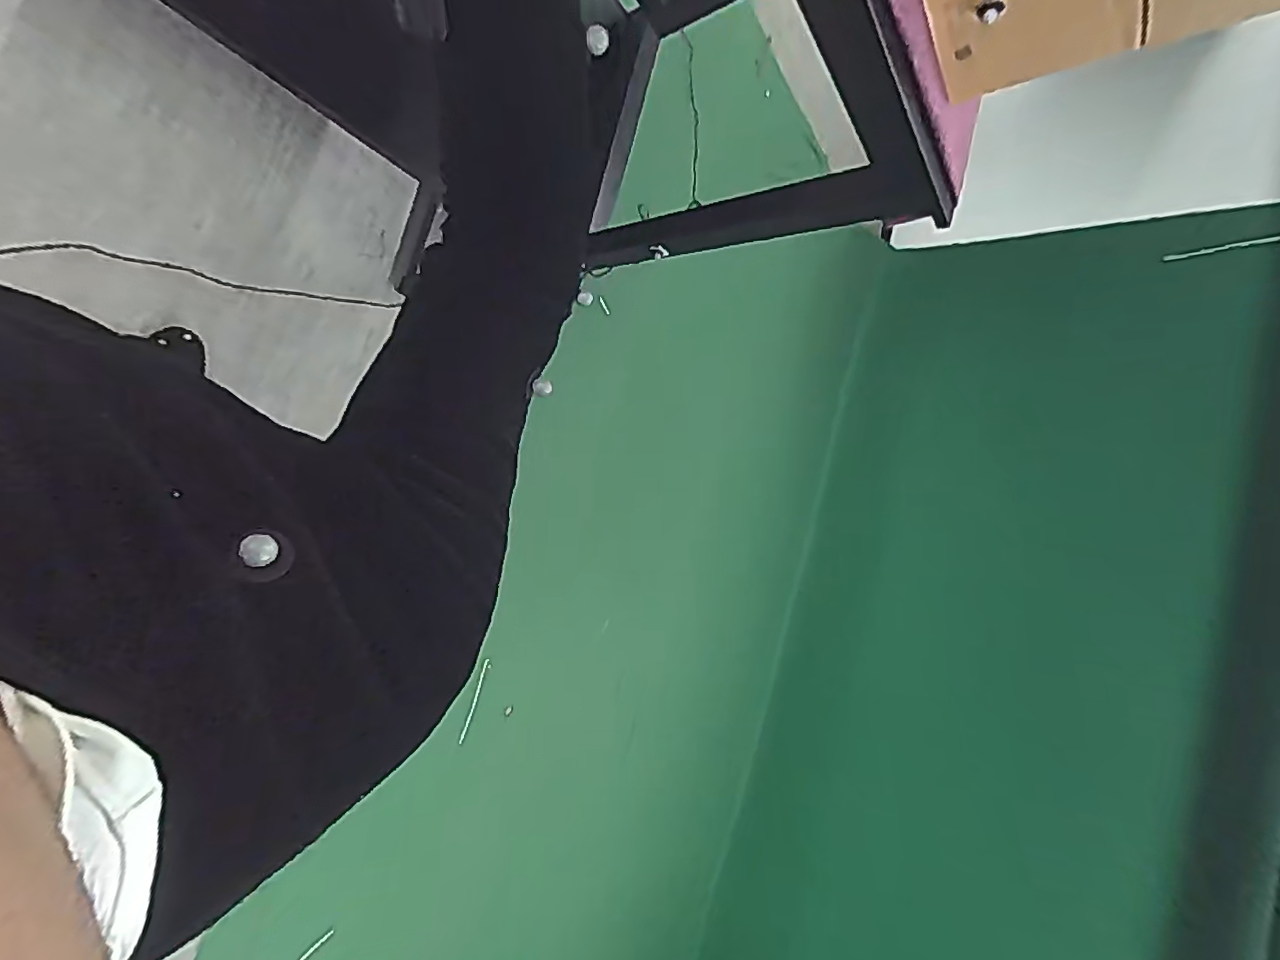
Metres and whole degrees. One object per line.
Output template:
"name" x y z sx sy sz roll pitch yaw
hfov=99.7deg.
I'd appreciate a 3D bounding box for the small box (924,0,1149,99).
"small box" 0.385 -0.518 0.511 0.168 0.176 0.179 22 83 -47
